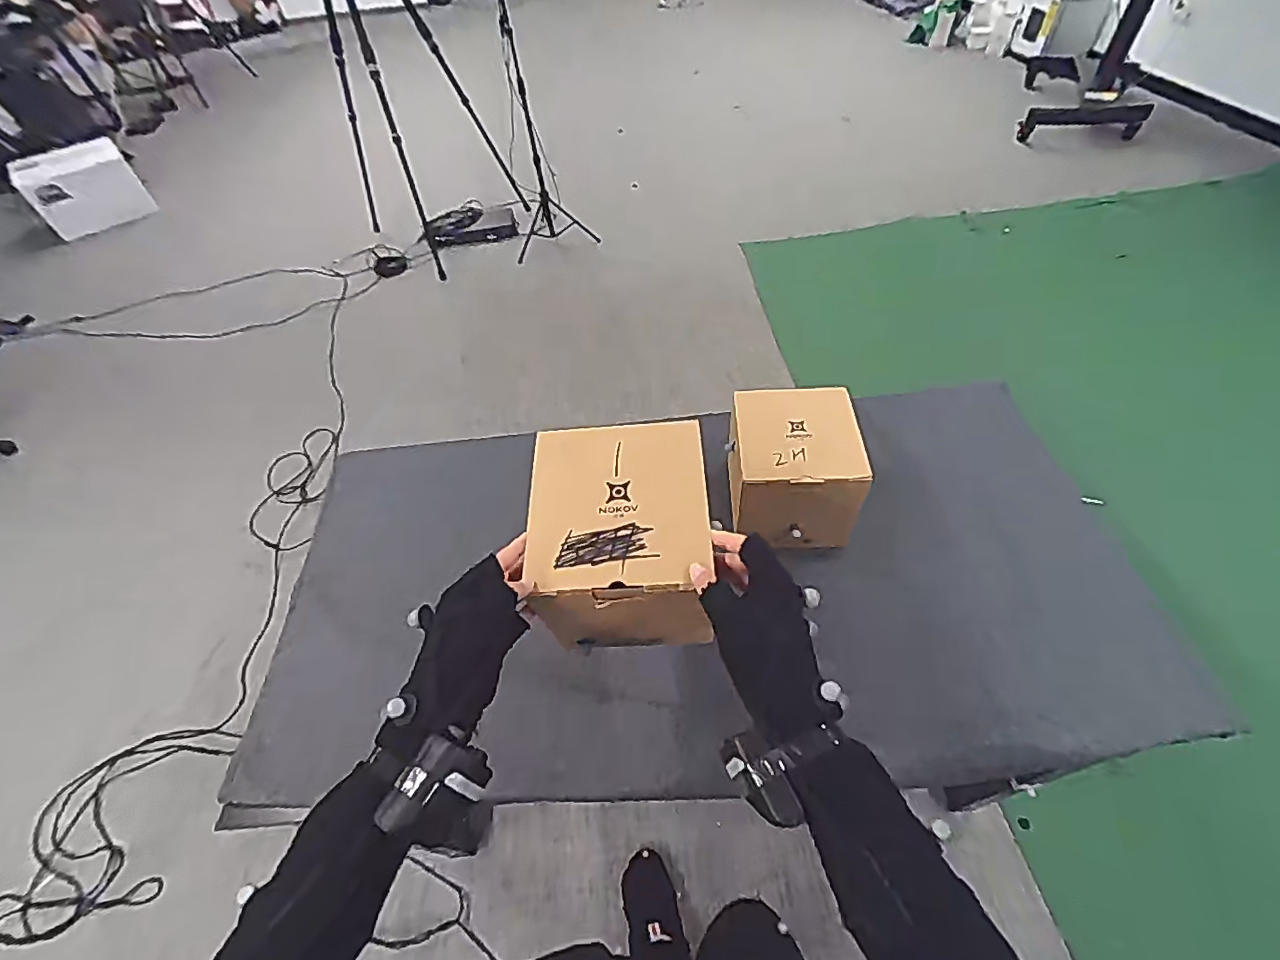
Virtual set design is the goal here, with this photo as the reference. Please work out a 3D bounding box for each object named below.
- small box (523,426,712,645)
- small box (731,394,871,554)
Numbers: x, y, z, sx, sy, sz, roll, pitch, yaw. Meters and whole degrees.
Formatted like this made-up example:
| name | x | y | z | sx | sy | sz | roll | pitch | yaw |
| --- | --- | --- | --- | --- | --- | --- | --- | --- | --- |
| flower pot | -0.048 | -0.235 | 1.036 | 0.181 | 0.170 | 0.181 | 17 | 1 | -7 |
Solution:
| name | x | y | z | sx | sy | sz | roll | pitch | yaw |
| --- | --- | --- | --- | --- | --- | --- | --- | --- | --- |
| small box | -0.013 | 0.067 | 0.568 | 0.168 | 0.176 | 0.179 | -4 | 56 | 4 |
| small box | 0.225 | -0.007 | 0.808 | 0.168 | 0.176 | 0.179 | -2 | 51 | 6 |
